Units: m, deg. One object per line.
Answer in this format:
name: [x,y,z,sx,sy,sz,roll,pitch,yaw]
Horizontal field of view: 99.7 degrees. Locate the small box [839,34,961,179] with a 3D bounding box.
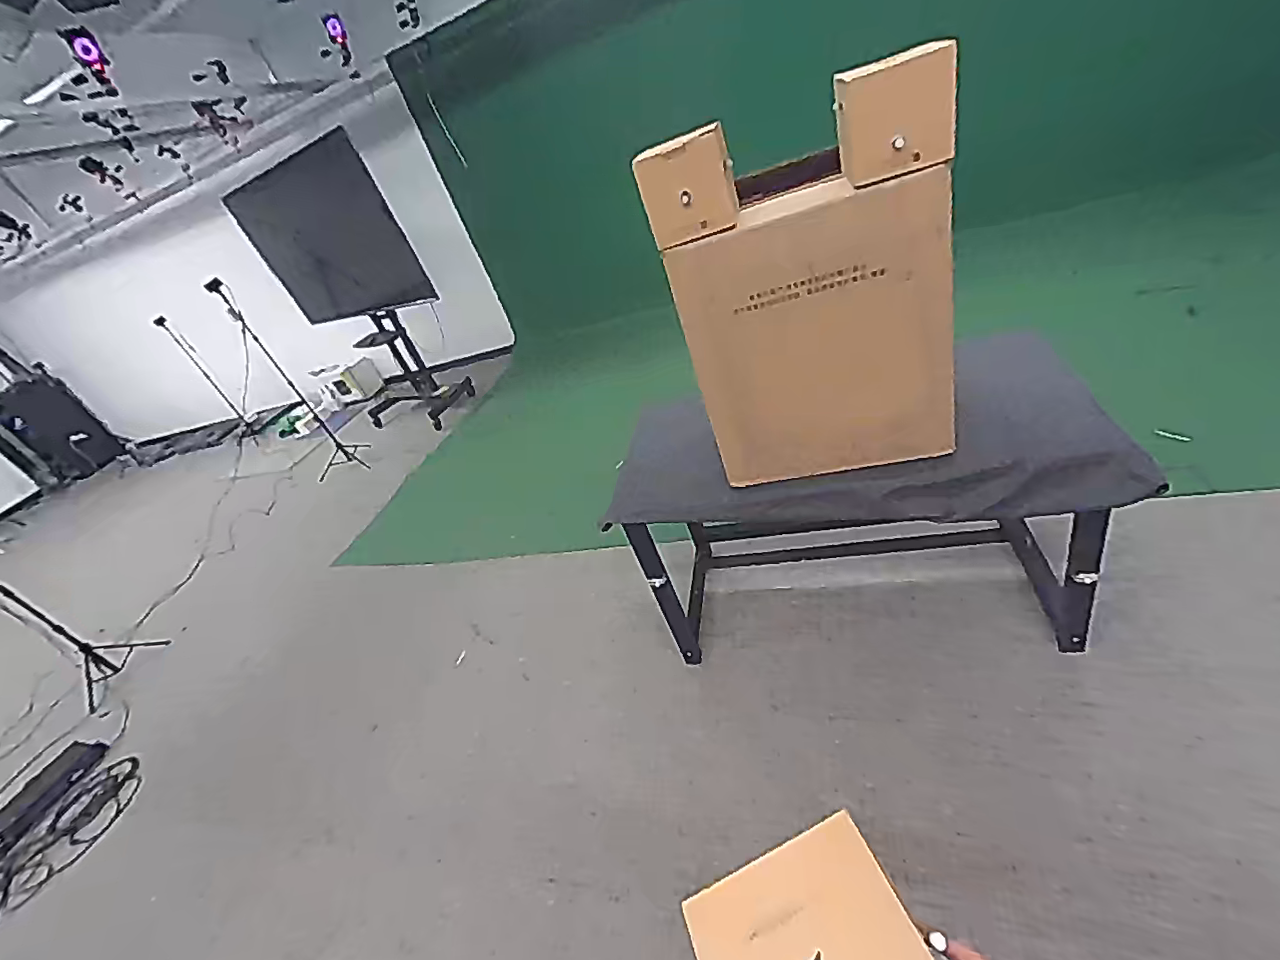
small box: [0.455,-0.659,0.964,0.168,0.176,0.179,-9,36,19]

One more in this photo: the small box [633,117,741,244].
small box: [0.103,-0.598,1.091,0.168,0.176,0.179,-10,36,20]

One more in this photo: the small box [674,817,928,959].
small box: [0.156,0.422,0.437,0.168,0.176,0.179,-31,35,2]
